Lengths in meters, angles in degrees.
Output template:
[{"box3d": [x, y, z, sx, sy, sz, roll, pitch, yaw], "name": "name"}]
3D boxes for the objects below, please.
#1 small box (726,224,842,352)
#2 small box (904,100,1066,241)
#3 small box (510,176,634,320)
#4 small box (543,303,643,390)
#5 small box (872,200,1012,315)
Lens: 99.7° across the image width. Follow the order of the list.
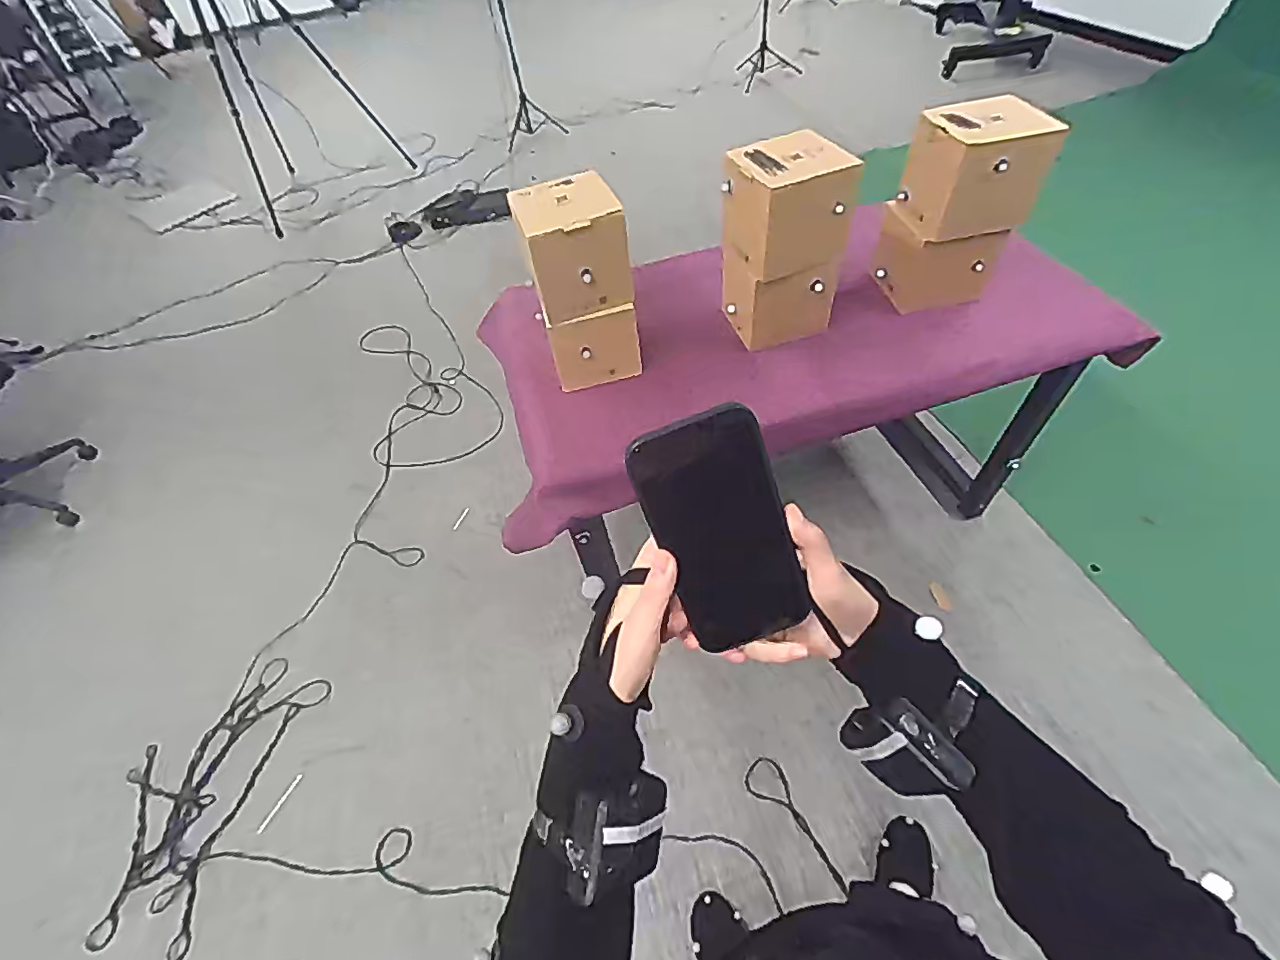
[{"box3d": [0.283, -0.391, 1.110, 0.179, 0.176, 0.168, -15, 52, -4], "name": "small box"}, {"box3d": [0.609, -0.561, 0.990, 0.179, 0.176, 0.168, -10, 51, -1], "name": "small box"}, {"box3d": [-0.117, -0.409, 0.973, 0.168, 0.176, 0.179, -19, 53, -7], "name": "small box"}, {"box3d": [-0.097, -0.303, 1.097, 0.168, 0.176, 0.179, -15, 52, -4], "name": "small box"}, {"box3d": [0.614, -0.470, 1.127, 0.179, 0.176, 0.168, -11, 51, 0], "name": "small box"}]
